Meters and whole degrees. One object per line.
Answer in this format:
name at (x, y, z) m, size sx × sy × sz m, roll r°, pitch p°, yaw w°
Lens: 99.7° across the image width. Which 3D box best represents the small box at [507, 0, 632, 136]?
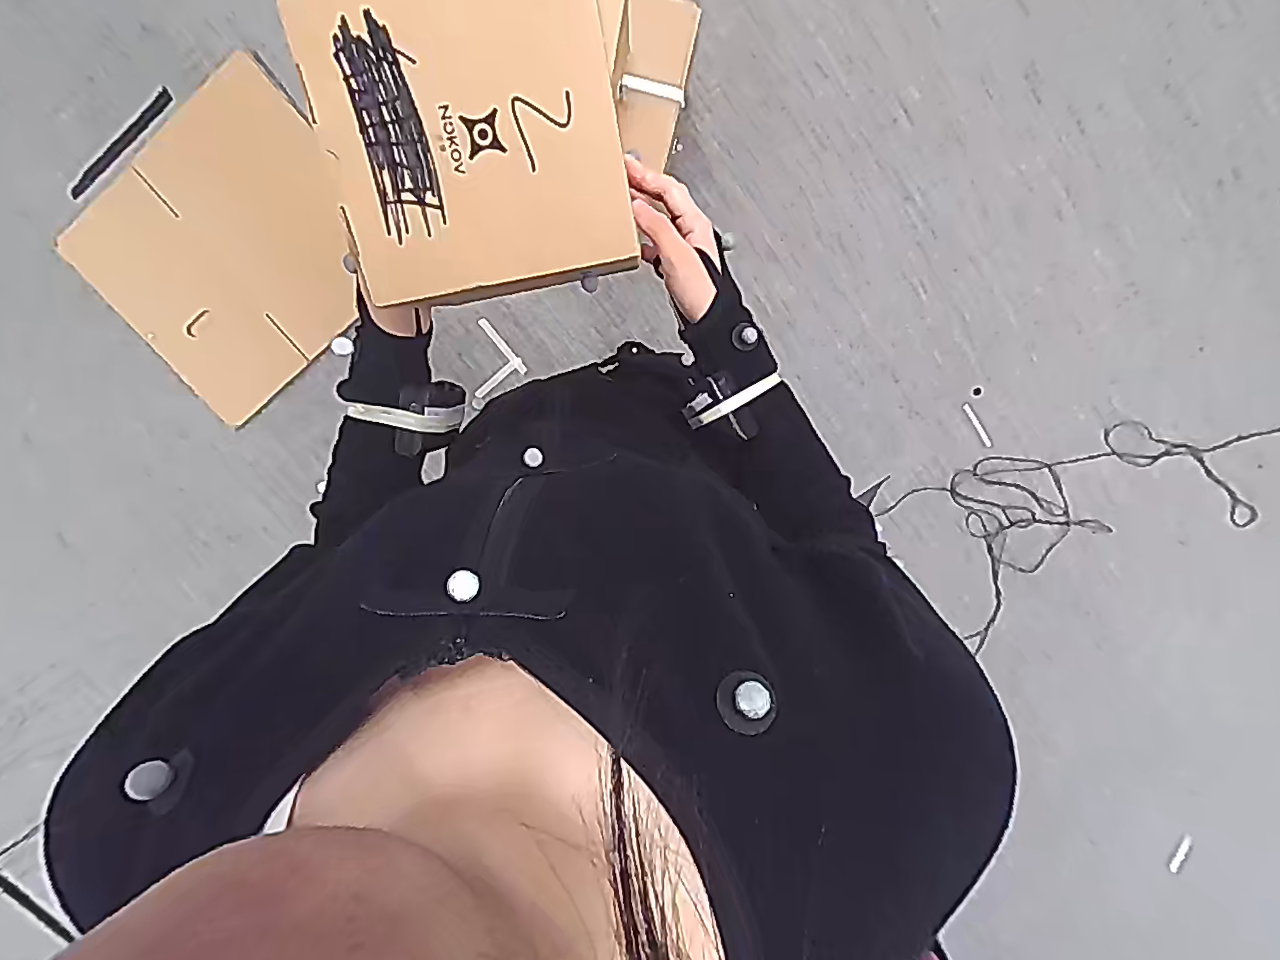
small box at (-0.114, -0.725, 0.933) m, size 0.179 × 0.176 × 0.168 m, roll 10°, pitch 104°, yaw -3°
